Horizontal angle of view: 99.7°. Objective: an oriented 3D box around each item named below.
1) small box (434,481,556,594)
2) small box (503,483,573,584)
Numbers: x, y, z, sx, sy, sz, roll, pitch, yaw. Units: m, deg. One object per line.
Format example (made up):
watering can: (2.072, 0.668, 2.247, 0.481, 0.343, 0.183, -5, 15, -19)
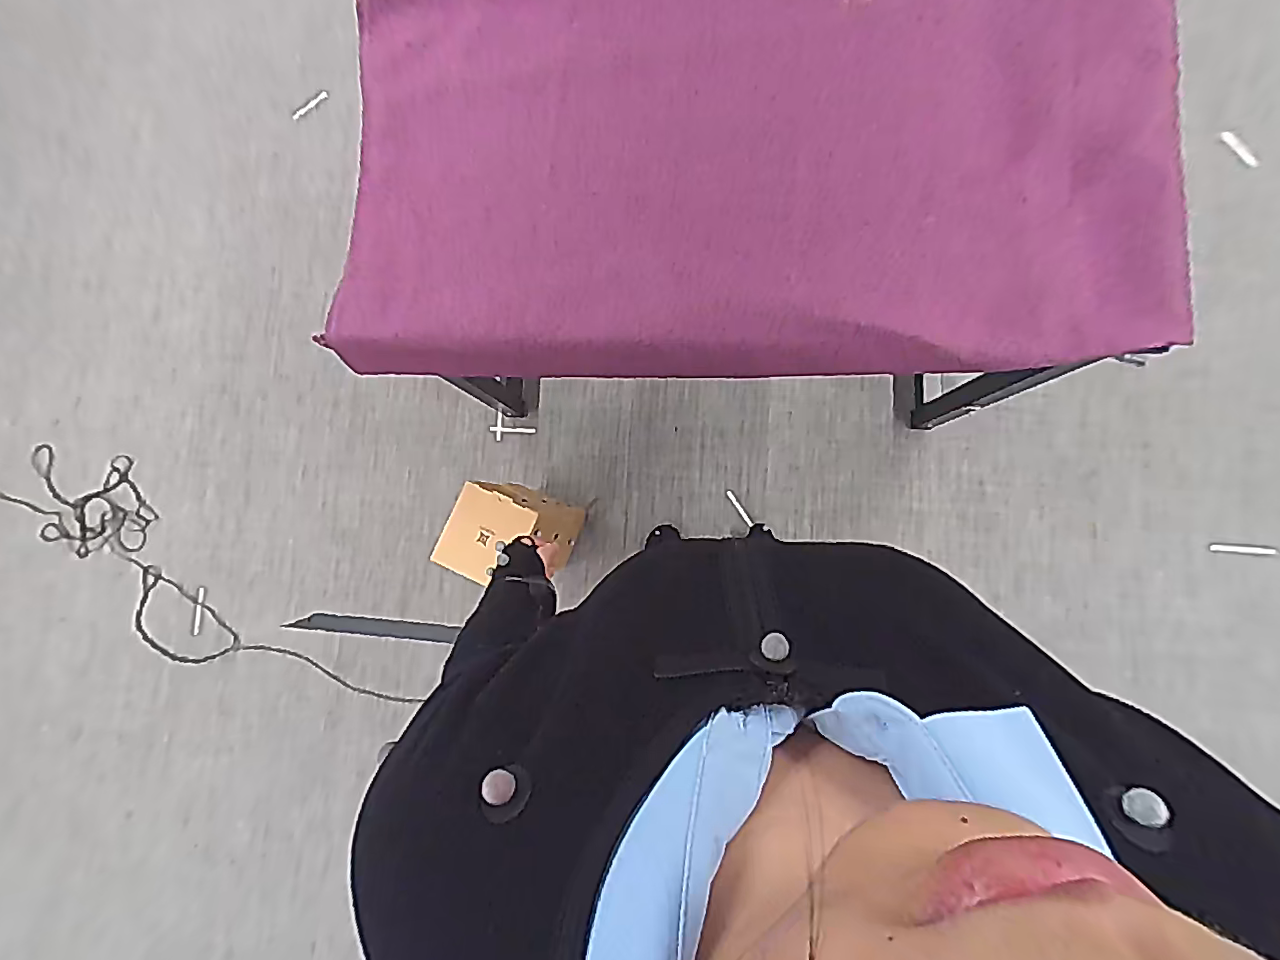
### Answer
small box: (-0.293, 0.118, 1.137, 0.168, 0.176, 0.179, 24, 87, 6)
small box: (-0.276, 0.125, 1.299, 0.168, 0.176, 0.179, 31, 89, 6)
